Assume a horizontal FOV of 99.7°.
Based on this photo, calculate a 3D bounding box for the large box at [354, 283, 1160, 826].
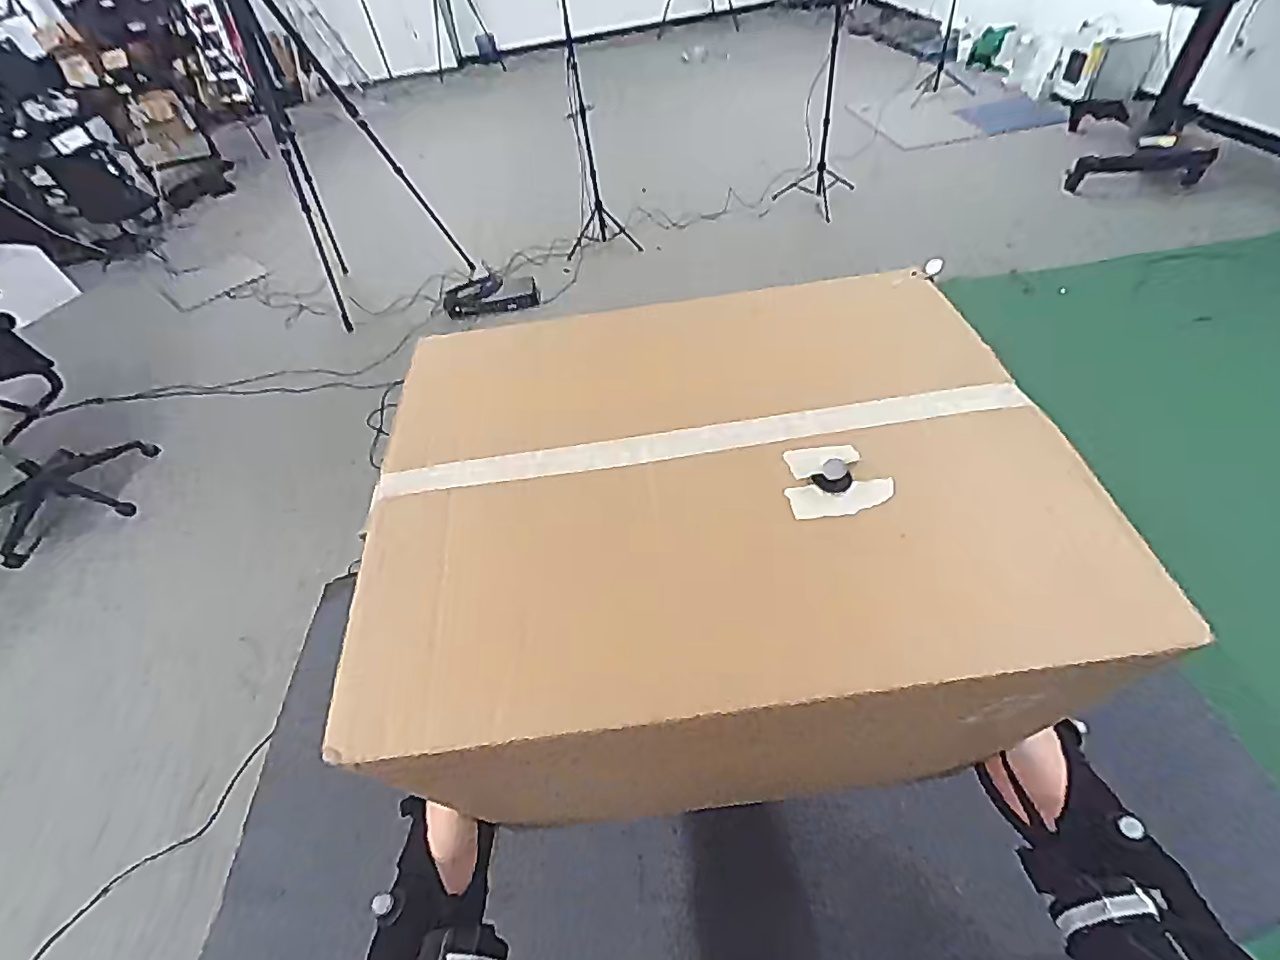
[{"bbox_3d":[0.051,0.076,0.466,0.408,0.320,0.320,-8,53,0],"label":"large box"}]
